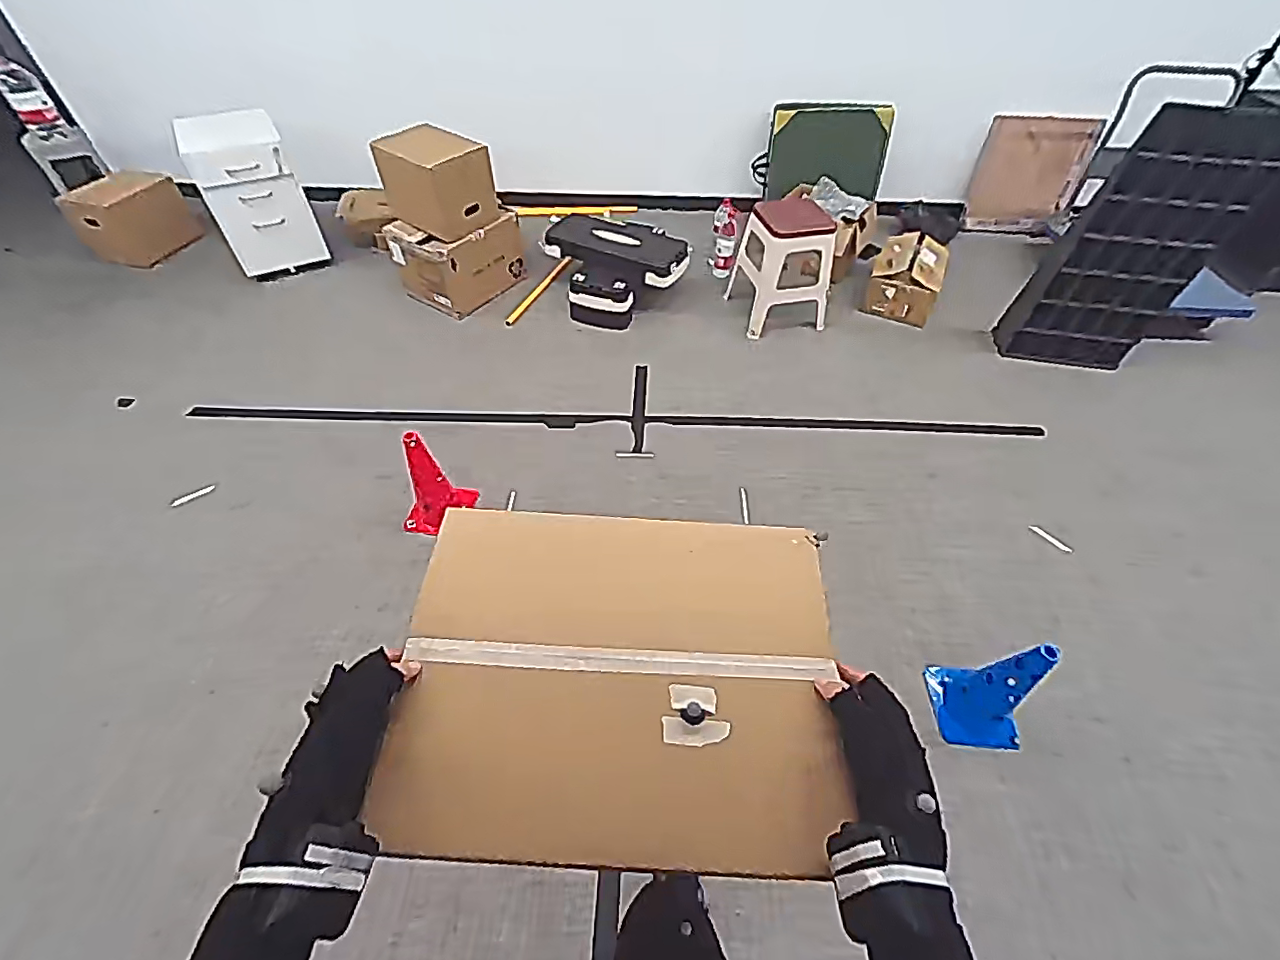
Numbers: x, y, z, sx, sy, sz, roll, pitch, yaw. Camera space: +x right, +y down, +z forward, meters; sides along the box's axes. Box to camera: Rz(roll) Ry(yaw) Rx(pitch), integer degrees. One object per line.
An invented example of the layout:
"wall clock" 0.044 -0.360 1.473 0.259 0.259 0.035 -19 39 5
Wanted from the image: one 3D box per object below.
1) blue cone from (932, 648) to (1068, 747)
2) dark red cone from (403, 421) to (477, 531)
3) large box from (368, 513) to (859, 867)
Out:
"blue cone" 0.890 0.500 1.311 0.192 0.380 0.193 5 50 2
"dark red cone" -0.655 -0.024 1.671 0.201 0.394 0.202 7 50 3
"large box" -0.023 0.258 0.636 0.408 0.320 0.320 4 55 0
